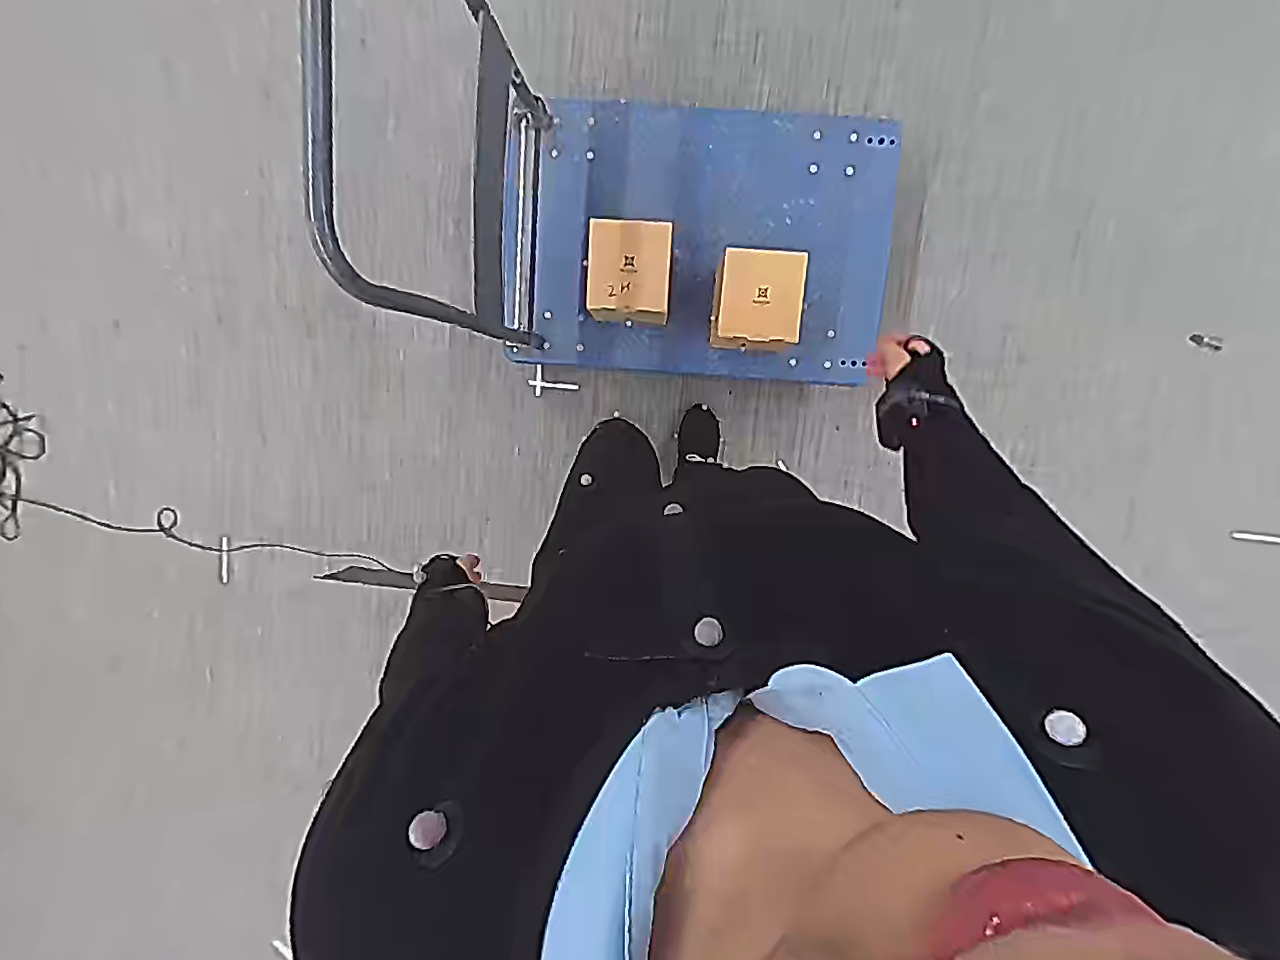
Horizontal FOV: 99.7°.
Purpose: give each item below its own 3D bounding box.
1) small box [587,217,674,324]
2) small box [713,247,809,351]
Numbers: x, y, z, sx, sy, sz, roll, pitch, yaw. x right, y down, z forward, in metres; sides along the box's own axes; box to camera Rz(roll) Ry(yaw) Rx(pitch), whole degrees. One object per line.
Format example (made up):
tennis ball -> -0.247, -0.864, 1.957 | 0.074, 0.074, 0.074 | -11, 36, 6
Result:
small box -> -0.017, -0.440, 1.159 | 0.168, 0.176, 0.179 | 4, 99, 2
small box -> 0.250, -0.380, 1.159 | 0.168, 0.176, 0.179 | 4, 98, 2
